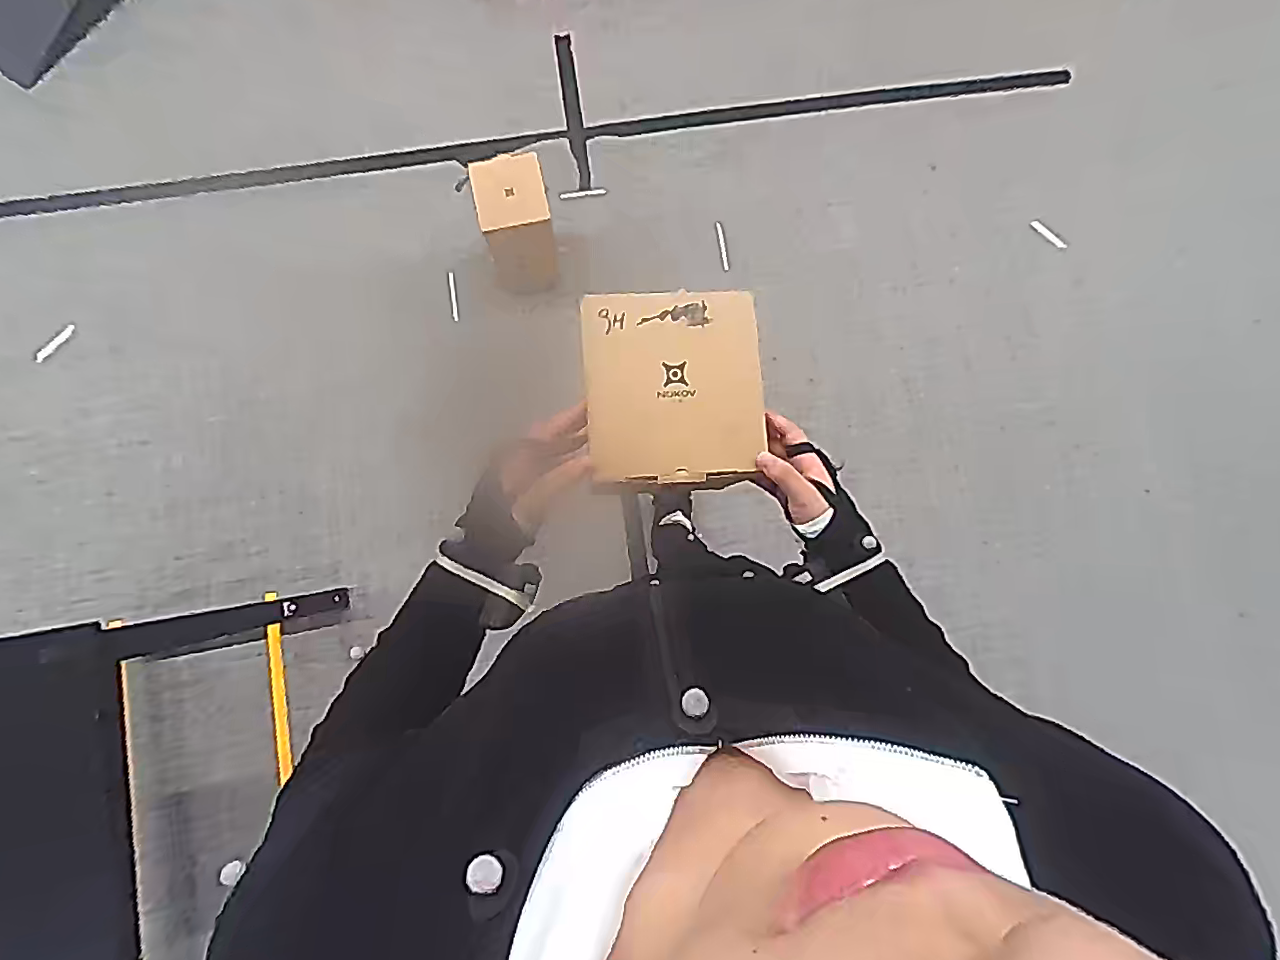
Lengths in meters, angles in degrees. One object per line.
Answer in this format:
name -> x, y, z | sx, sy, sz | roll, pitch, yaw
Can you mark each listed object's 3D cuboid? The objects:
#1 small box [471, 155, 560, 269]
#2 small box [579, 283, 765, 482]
small box -> -0.302, -0.655, 1.337 | 0.168, 0.176, 0.179 | -13, 85, -2
small box -> 0.024, -0.090, 0.577 | 0.168, 0.176, 0.179 | -4, 86, -6
